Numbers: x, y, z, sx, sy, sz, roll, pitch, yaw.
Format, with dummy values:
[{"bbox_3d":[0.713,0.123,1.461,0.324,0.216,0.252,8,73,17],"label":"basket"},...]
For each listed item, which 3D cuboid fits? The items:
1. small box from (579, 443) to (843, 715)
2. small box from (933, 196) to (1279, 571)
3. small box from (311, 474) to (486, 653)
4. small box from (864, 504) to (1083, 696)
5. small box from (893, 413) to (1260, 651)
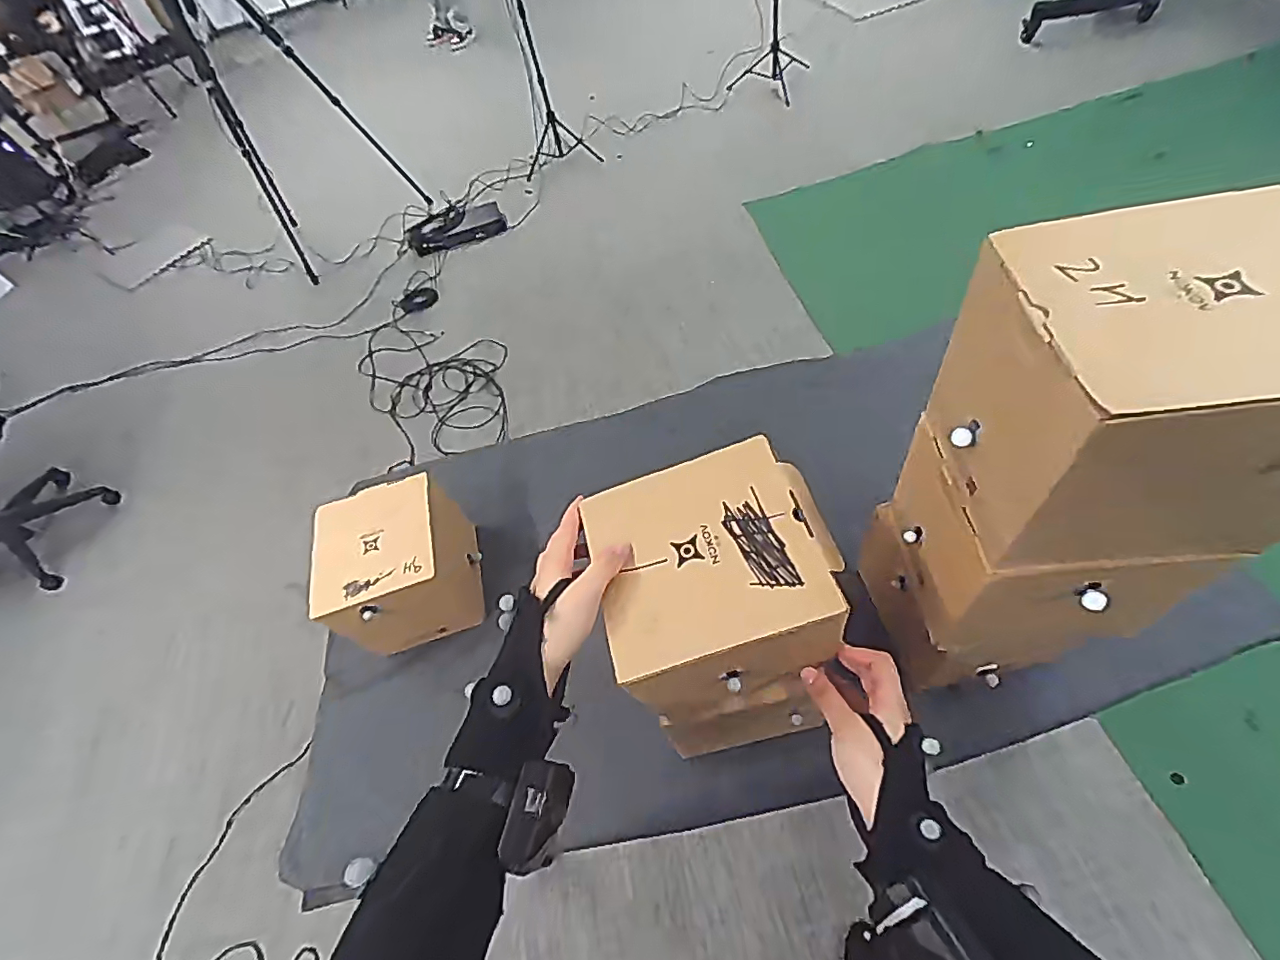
[{"bbox_3d":[0.063,0.099,0.495,0.179,0.176,0.168,-19,56,5],"label":"small box"},{"bbox_3d":[0.324,-0.051,0.357,0.179,0.176,0.168,-6,53,11],"label":"small box"},{"bbox_3d":[-0.339,0.125,0.785,0.168,0.176,0.179,-18,55,-1],"label":"small box"},{"bbox_3d":[0.380,0.127,0.626,0.168,0.176,0.179,-16,54,2],"label":"small box"},{"bbox_3d":[0.352,0.045,0.488,0.179,0.176,0.168,-7,54,9],"label":"small box"}]
